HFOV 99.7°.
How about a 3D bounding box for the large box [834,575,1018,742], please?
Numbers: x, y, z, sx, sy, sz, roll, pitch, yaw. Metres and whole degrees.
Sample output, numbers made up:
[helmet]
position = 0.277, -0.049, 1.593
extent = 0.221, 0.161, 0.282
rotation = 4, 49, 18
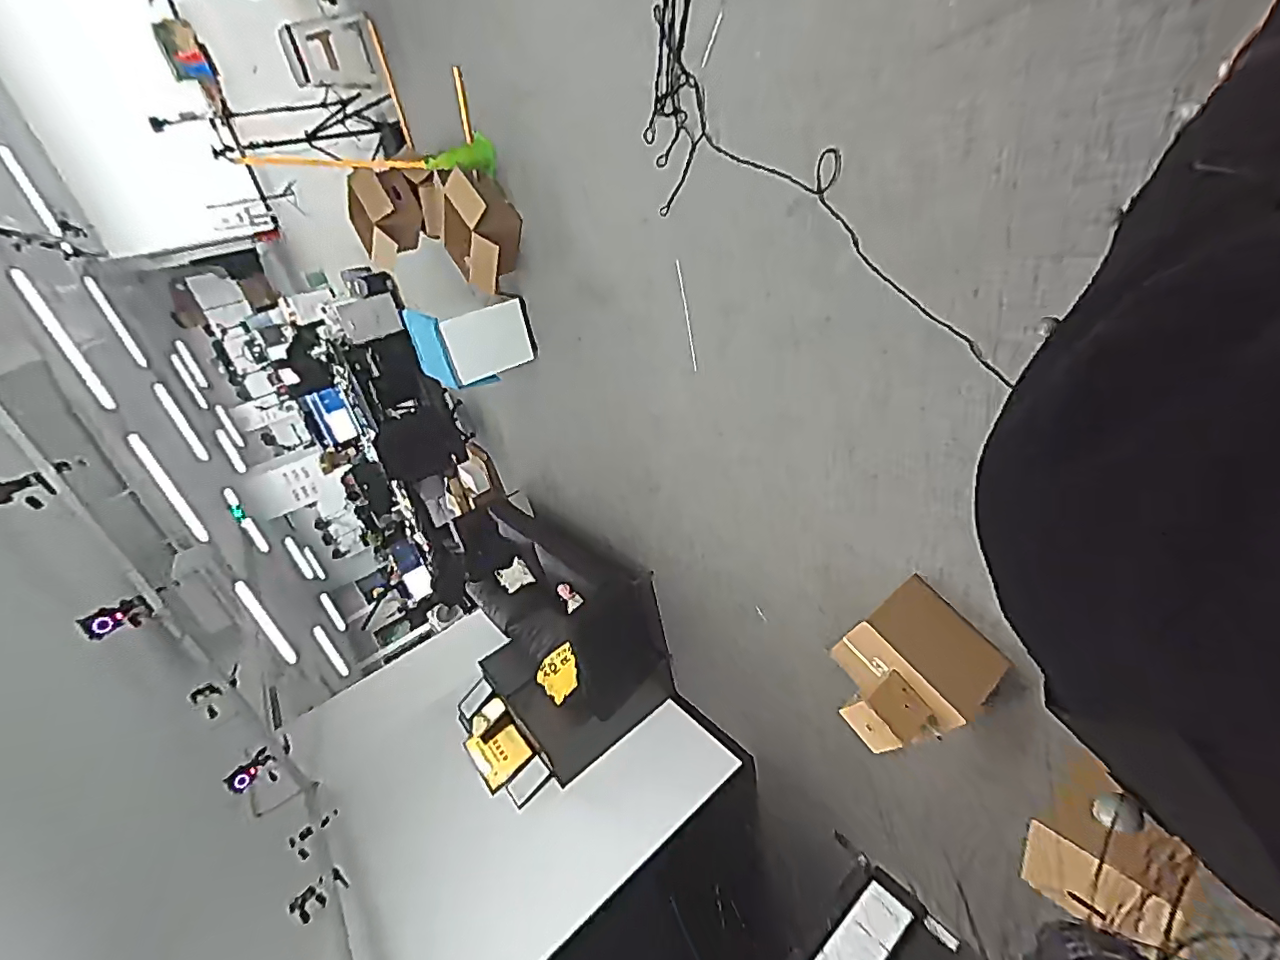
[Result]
[large box]
position = 0.982, 0.617, 1.888
extent = 0.408, 0.320, 0.320
rotation = 49, 150, 25

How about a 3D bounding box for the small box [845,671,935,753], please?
[small box]
position = 0.818, 0.757, 1.767
extent = 0.168, 0.176, 0.179
rotation = 50, 152, 21
